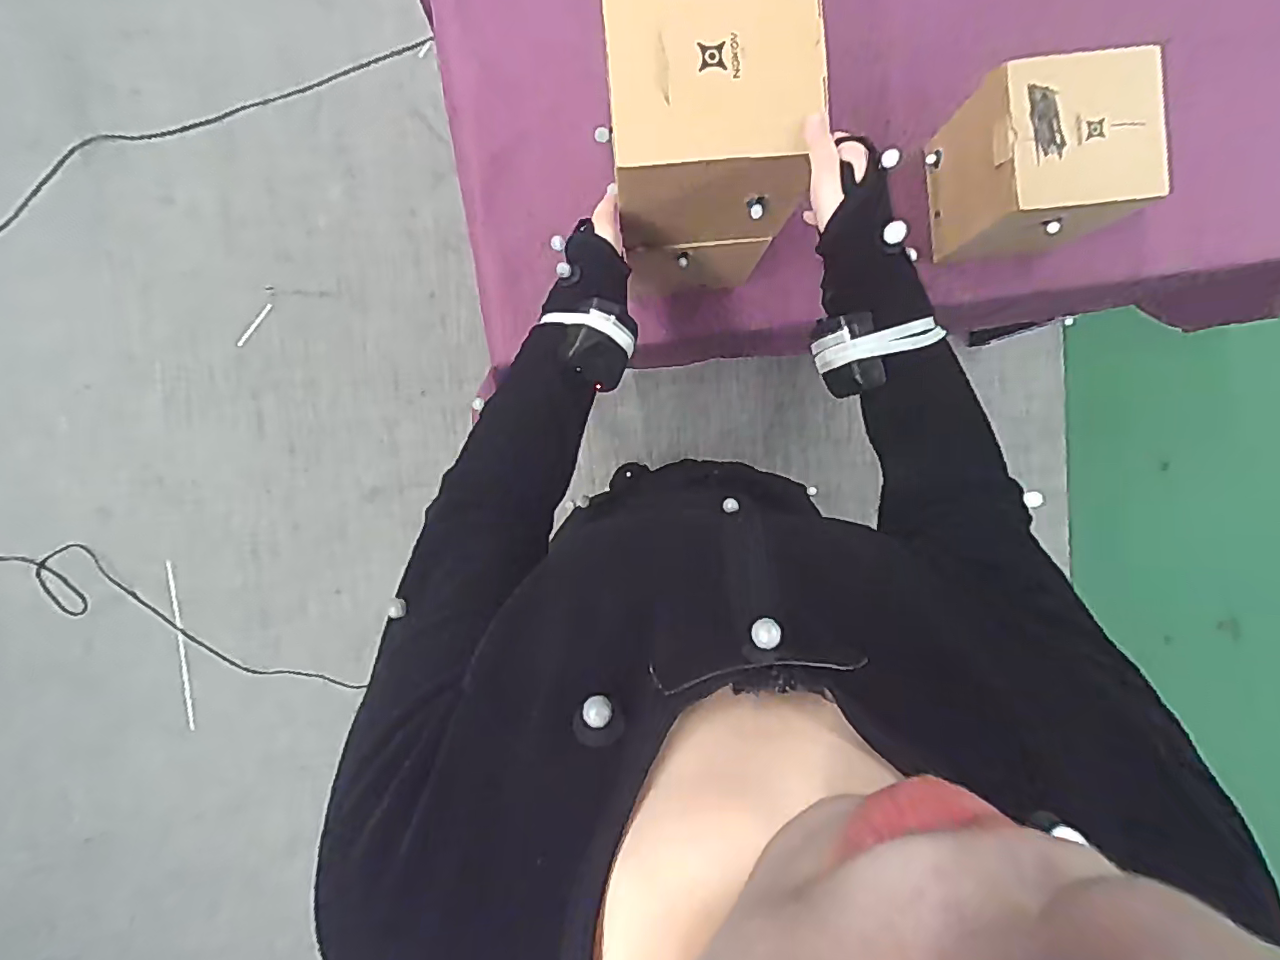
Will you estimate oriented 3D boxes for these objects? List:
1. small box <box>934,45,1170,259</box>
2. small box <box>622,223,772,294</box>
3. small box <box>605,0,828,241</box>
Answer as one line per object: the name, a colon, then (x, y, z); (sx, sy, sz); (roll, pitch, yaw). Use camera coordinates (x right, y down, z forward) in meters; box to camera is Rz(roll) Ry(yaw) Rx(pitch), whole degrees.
small box: (0.492, -0.391, 0.675); (0.179, 0.176, 0.168); (-6, 93, -1)
small box: (0.058, -0.350, 0.674); (0.168, 0.176, 0.179); (-5, 92, 0)
small box: (0.060, -0.342, 0.510); (0.179, 0.176, 0.168); (-4, 92, 0)
